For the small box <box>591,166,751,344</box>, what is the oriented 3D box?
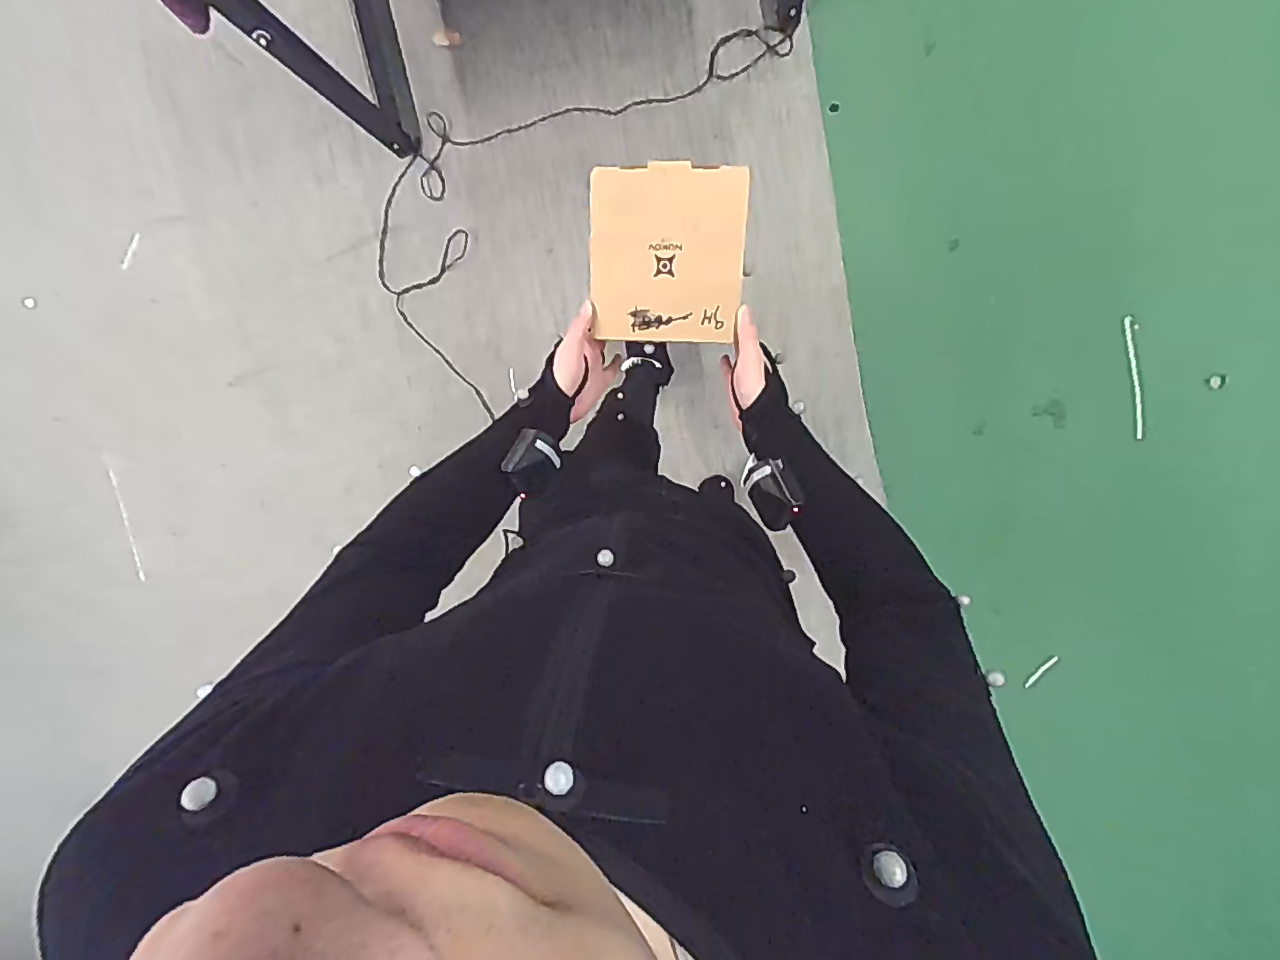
[{"bbox_3d":[0.039,-0.259,0.654,0.168,0.176,0.179,4,106,7],"label":"small box"}]
